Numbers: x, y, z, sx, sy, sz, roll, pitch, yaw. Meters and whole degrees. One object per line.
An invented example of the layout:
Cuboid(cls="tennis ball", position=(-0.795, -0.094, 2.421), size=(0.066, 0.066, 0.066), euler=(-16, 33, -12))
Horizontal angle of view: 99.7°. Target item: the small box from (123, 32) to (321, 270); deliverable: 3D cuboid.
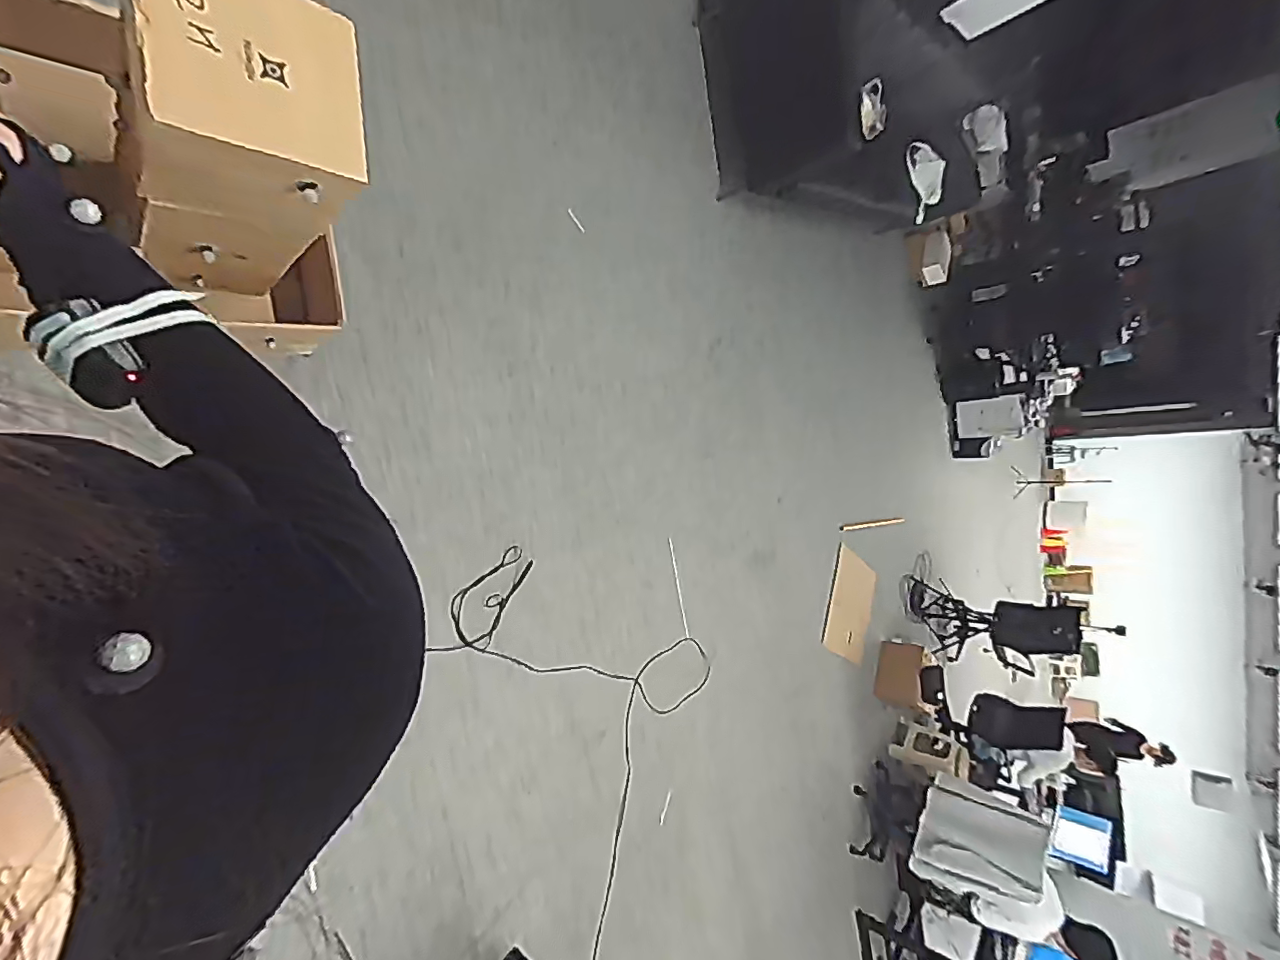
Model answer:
Cuboid(cls="small box", position=(-0.522, -0.386, 0.676), size=(0.168, 0.176, 0.179), euler=(-8, 96, -44))
